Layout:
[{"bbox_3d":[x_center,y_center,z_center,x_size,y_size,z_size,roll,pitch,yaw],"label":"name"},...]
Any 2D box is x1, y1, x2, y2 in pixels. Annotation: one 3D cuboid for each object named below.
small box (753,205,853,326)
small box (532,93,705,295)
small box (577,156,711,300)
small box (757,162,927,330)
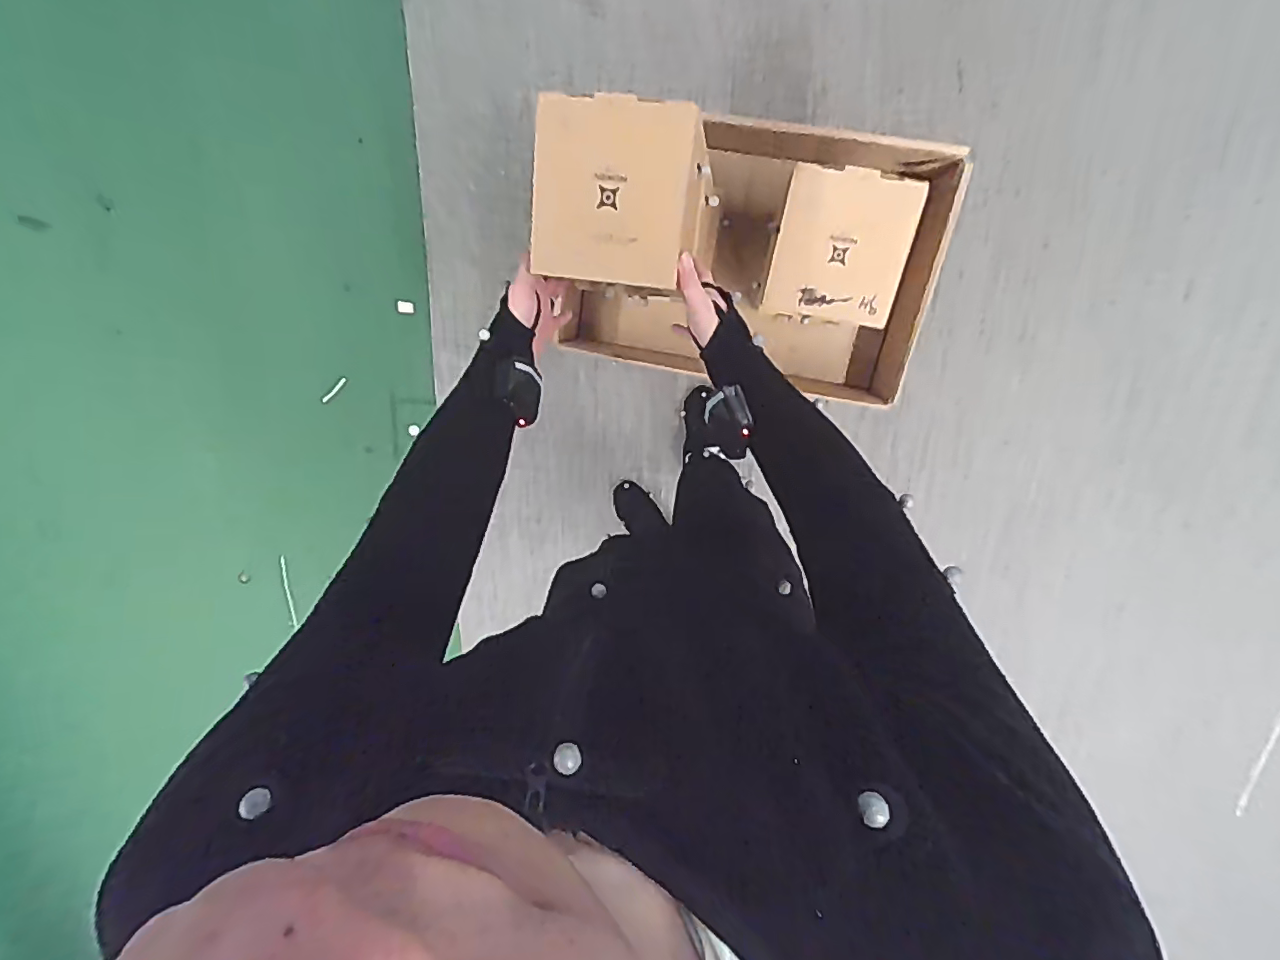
[{"bbox_3d":[0.292,-0.372,0.926,0.168,0.176,0.179,11,112,5],"label":"small box"},{"bbox_3d":[-0.018,-0.320,0.638,0.168,0.176,0.179,10,111,6],"label":"small box"},{"bbox_3d":[0.010,-0.366,0.793,0.168,0.176,0.179,8,111,6],"label":"small box"},{"bbox_3d":[0.269,-0.324,0.770,0.168,0.176,0.179,13,111,4],"label":"small box"}]
